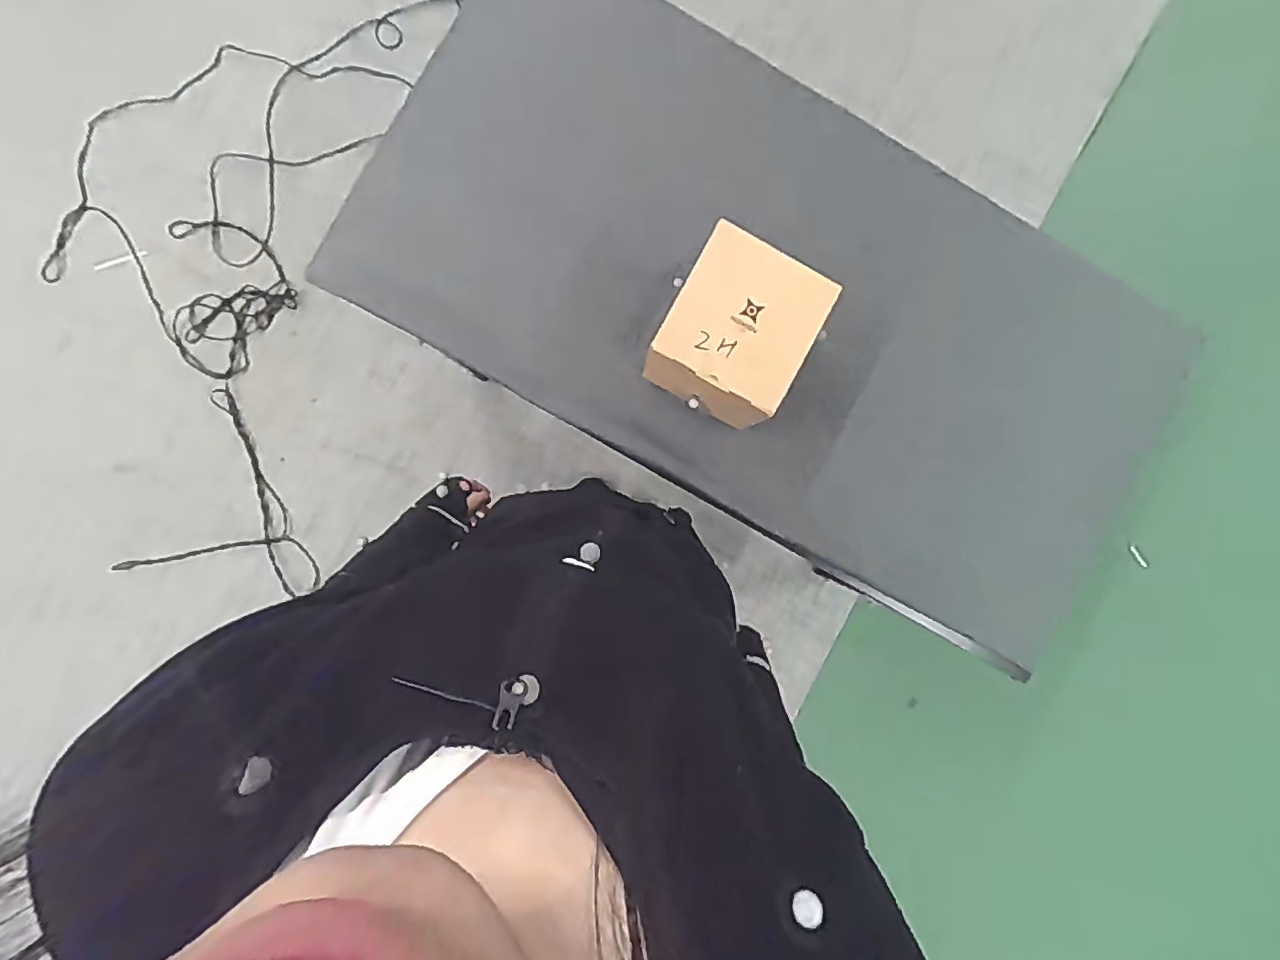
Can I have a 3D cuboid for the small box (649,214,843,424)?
[{"bbox_3d":[0.120,-0.190,0.697,0.168,0.176,0.179,29,88,-2],"label":"small box"}]
